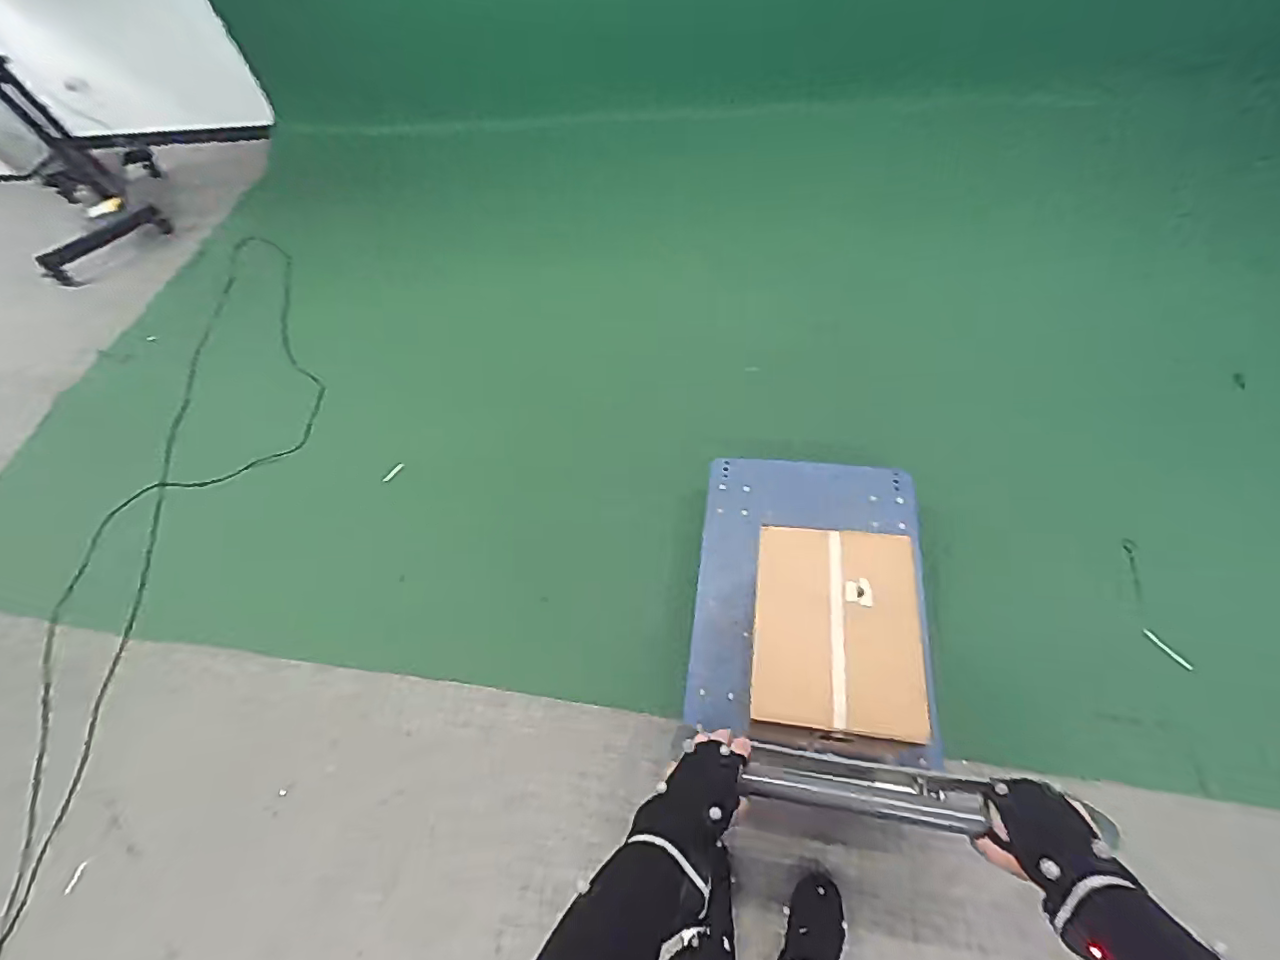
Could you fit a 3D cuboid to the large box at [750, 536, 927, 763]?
[{"bbox_3d":[0.408,0.379,1.206,0.320,0.320,0.408,4,59,11],"label":"large box"}]
